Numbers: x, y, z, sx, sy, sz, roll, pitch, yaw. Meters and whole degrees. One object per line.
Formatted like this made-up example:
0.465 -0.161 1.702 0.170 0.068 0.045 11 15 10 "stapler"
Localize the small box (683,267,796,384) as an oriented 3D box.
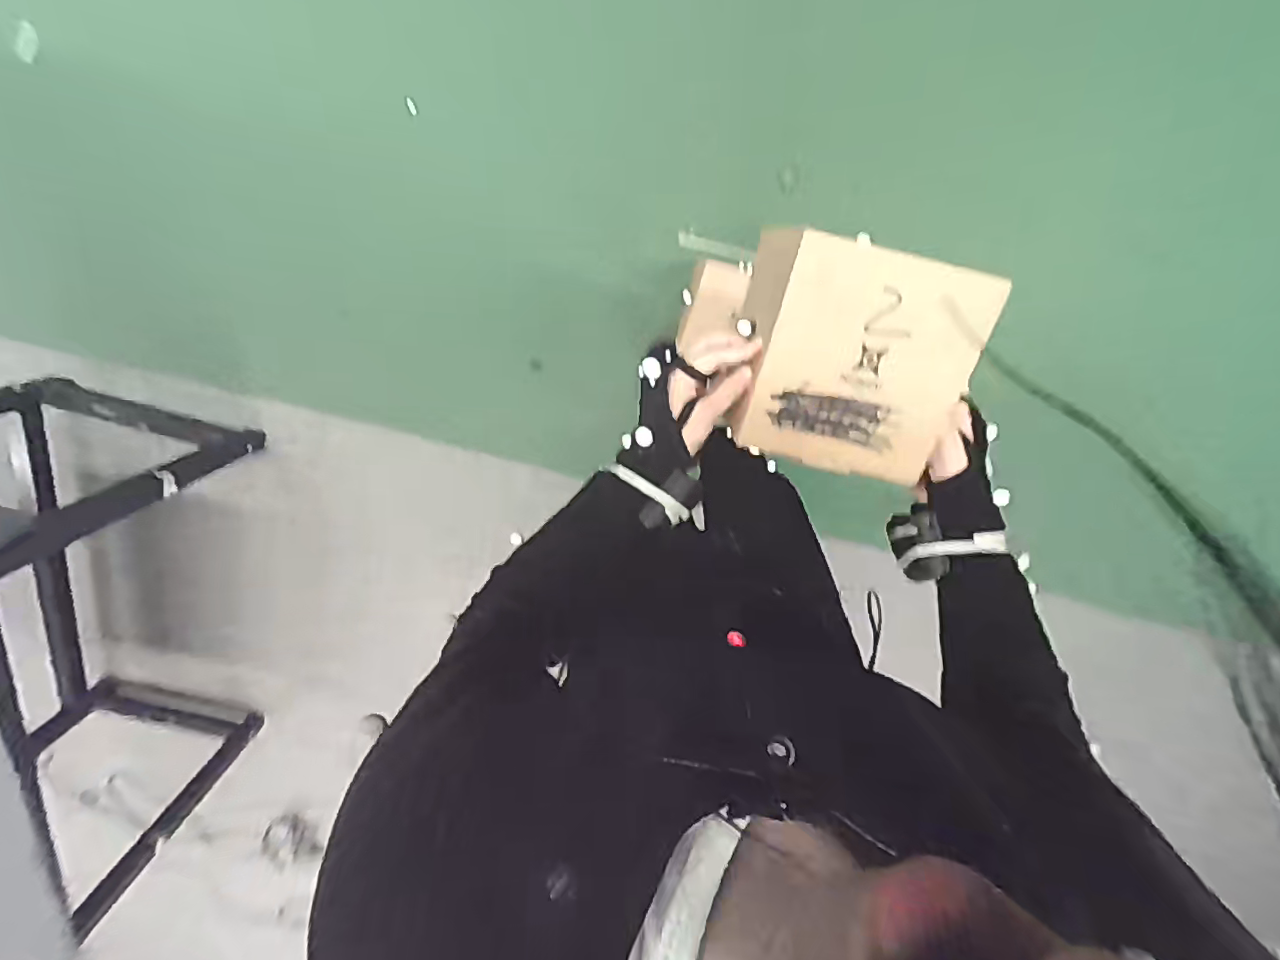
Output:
0.188 -0.314 1.082 0.168 0.176 0.179 17 112 -2 "small box"
